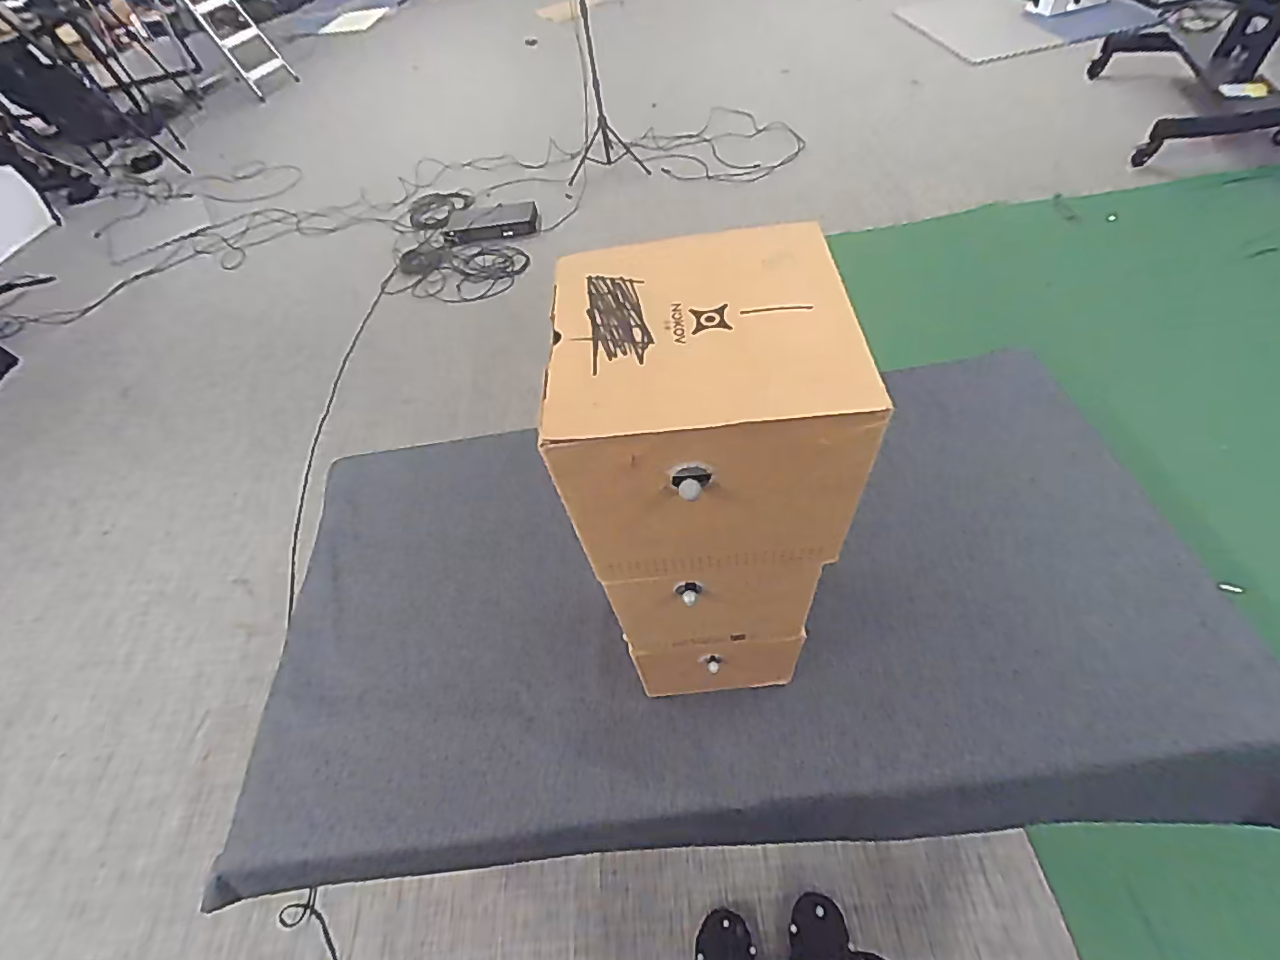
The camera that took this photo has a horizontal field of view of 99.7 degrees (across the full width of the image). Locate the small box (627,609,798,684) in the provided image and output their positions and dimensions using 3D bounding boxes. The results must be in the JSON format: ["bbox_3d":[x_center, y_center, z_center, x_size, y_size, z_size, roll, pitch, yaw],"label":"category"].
[{"bbox_3d":[0.079,0.138,0.654,0.179,0.176,0.168,-7,54,3],"label":"small box"}]

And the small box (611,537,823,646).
[{"bbox_3d":[0.061,0.043,0.525,0.168,0.176,0.179,-8,55,2],"label":"small box"}]

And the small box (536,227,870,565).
[{"bbox_3d":[0.040,-0.049,0.387,0.179,0.176,0.168,-5,55,5],"label":"small box"}]
